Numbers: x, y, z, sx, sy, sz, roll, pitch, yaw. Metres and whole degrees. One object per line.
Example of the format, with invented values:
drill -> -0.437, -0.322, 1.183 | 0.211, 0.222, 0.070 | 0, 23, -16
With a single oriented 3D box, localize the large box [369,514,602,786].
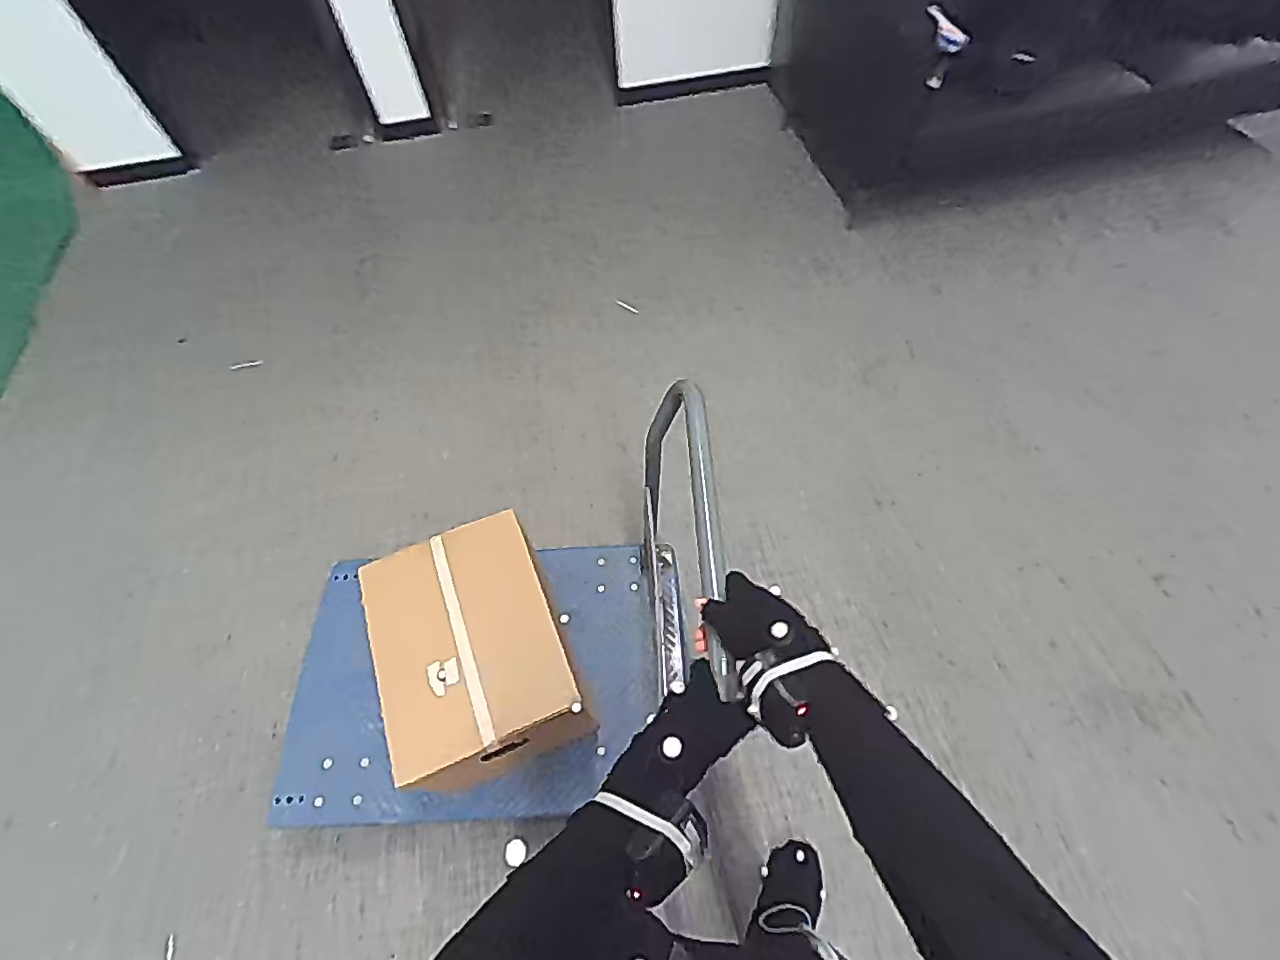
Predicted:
large box -> -0.302, 0.349, 1.108 | 0.320, 0.320, 0.408 | -22, 61, -10
